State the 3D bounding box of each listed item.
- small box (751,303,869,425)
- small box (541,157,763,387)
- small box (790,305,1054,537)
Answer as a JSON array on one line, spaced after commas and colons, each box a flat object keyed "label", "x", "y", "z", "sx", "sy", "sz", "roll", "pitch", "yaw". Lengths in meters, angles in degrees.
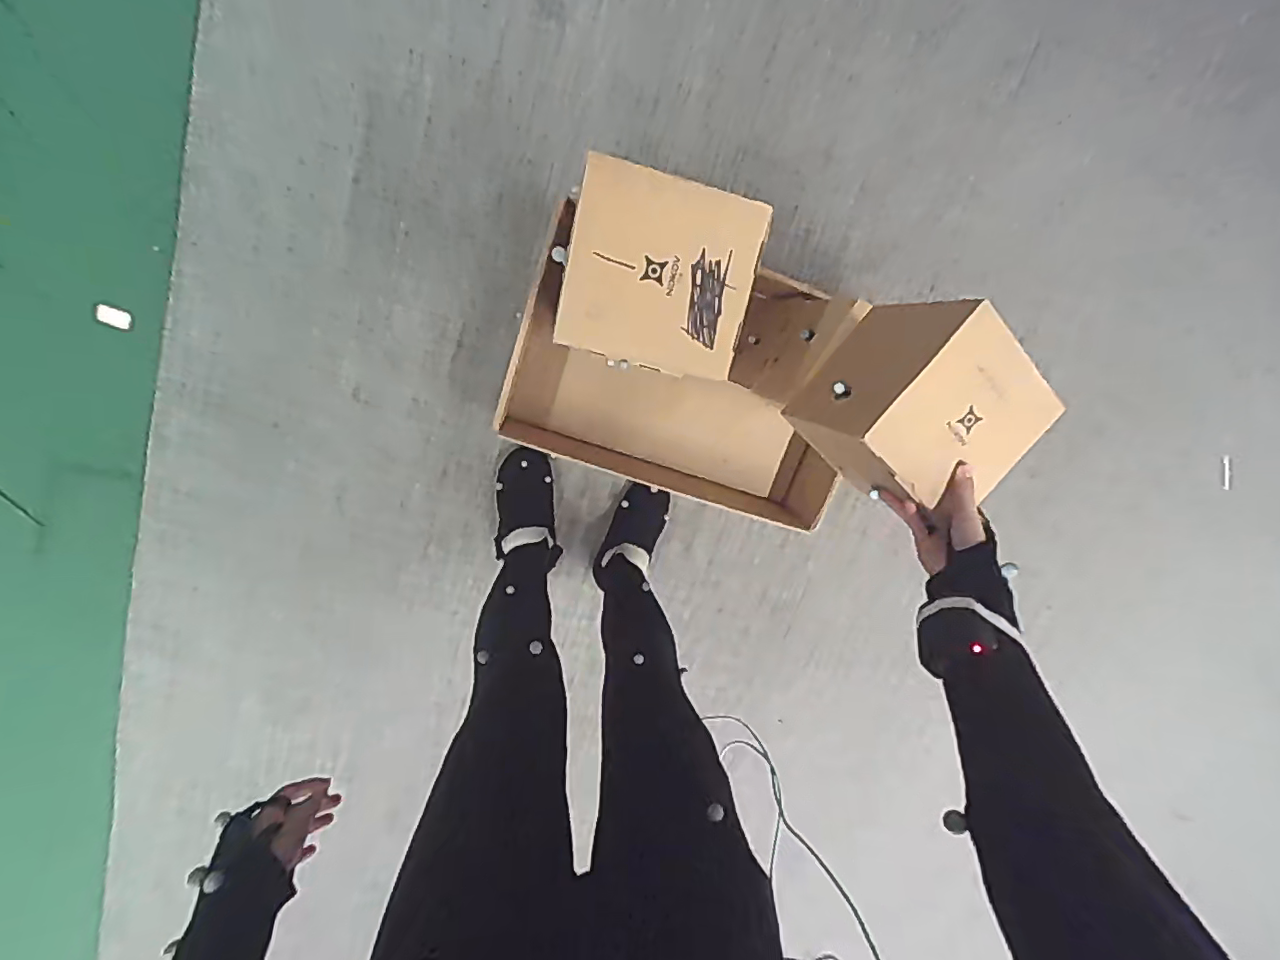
[{"label": "small box", "x": 0.295, "y": -0.144, "z": 0.810, "sx": 0.179, "sy": 0.176, "sz": 0.168, "roll": 28, "pitch": 101, "yaw": -15}, {"label": "small box", "x": 0.001, "y": -0.206, "z": 0.571, "sx": 0.179, "sy": 0.176, "sz": 0.168, "roll": 12, "pitch": 104, "yaw": -10}, {"label": "small box", "x": 0.297, "y": -0.072, "z": 0.611, "sx": 0.168, "sy": 0.176, "sz": 0.179, "roll": 40, "pitch": 94, "yaw": -20}]
